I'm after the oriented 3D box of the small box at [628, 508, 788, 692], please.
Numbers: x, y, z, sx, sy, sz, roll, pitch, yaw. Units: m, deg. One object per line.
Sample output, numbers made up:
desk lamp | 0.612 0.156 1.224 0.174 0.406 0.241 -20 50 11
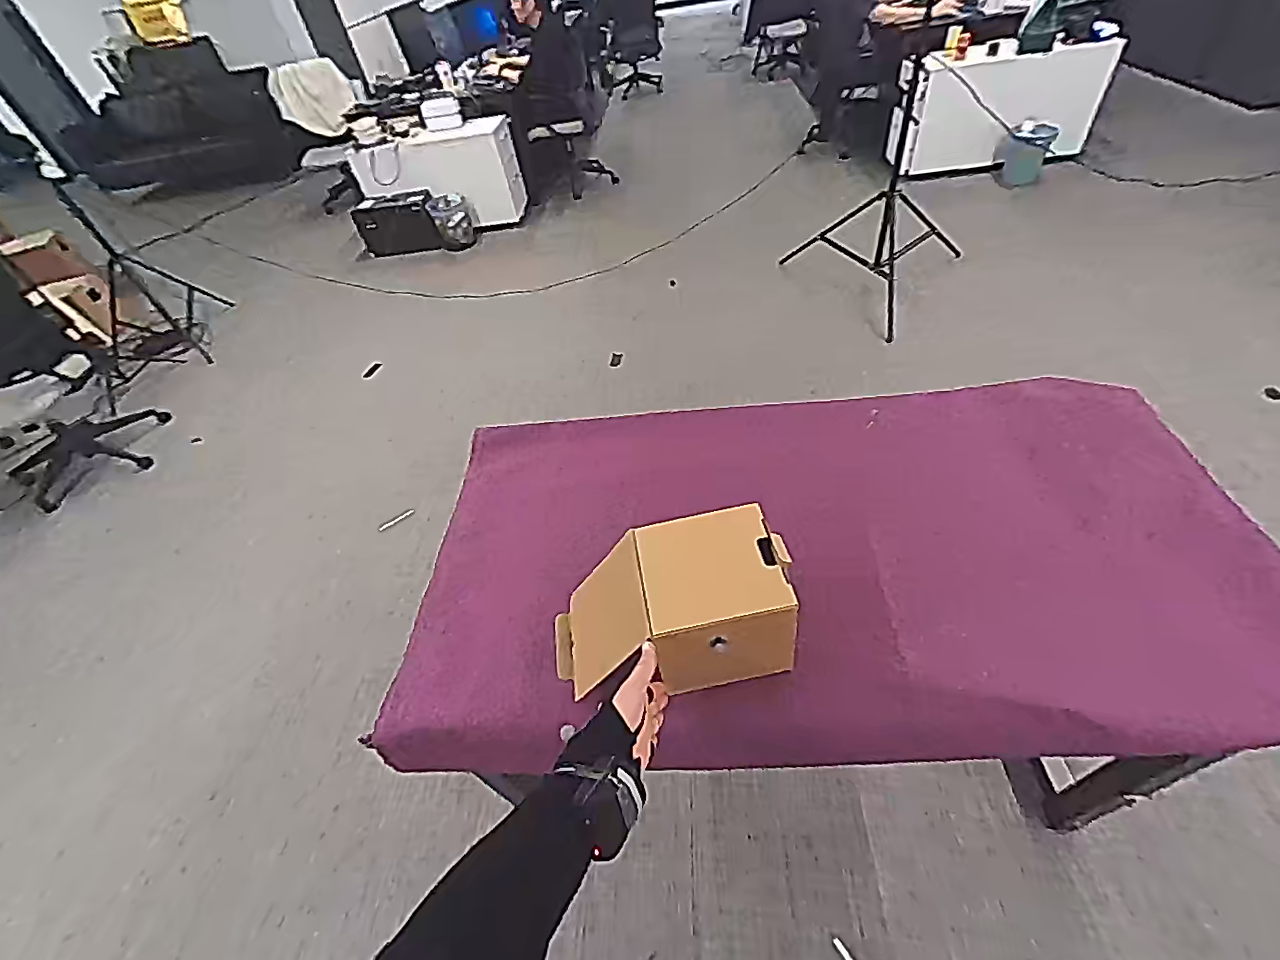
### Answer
small box | 0.091 0.166 0.732 0.179 0.176 0.168 -12 45 1
